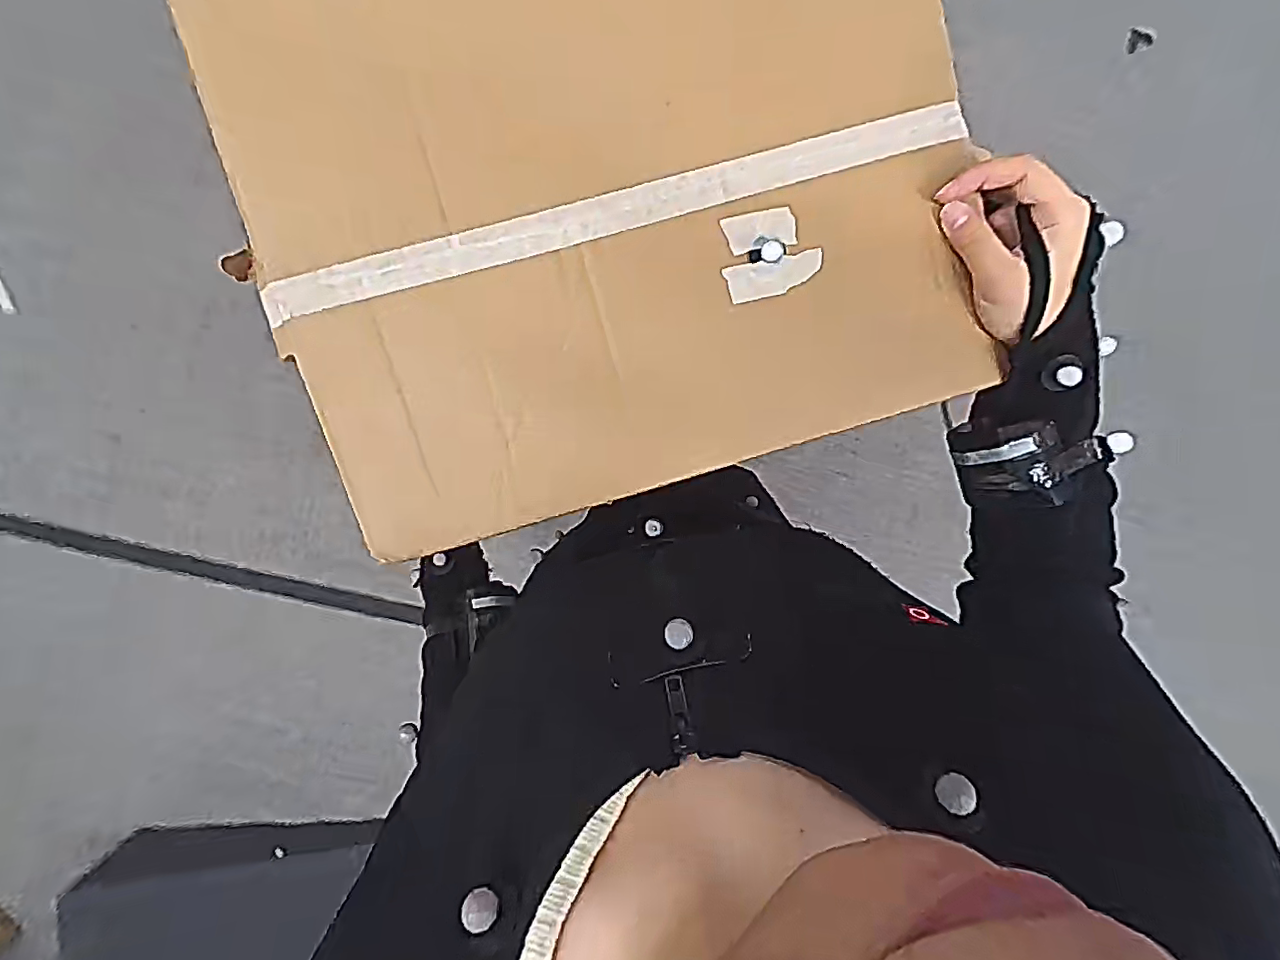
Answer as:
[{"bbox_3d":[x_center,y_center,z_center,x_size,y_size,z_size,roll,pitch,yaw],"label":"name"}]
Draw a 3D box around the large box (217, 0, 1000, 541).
[{"bbox_3d":[-0.012,-0.177,0.462,0.408,0.320,0.320,-16,98,-5],"label":"large box"}]
